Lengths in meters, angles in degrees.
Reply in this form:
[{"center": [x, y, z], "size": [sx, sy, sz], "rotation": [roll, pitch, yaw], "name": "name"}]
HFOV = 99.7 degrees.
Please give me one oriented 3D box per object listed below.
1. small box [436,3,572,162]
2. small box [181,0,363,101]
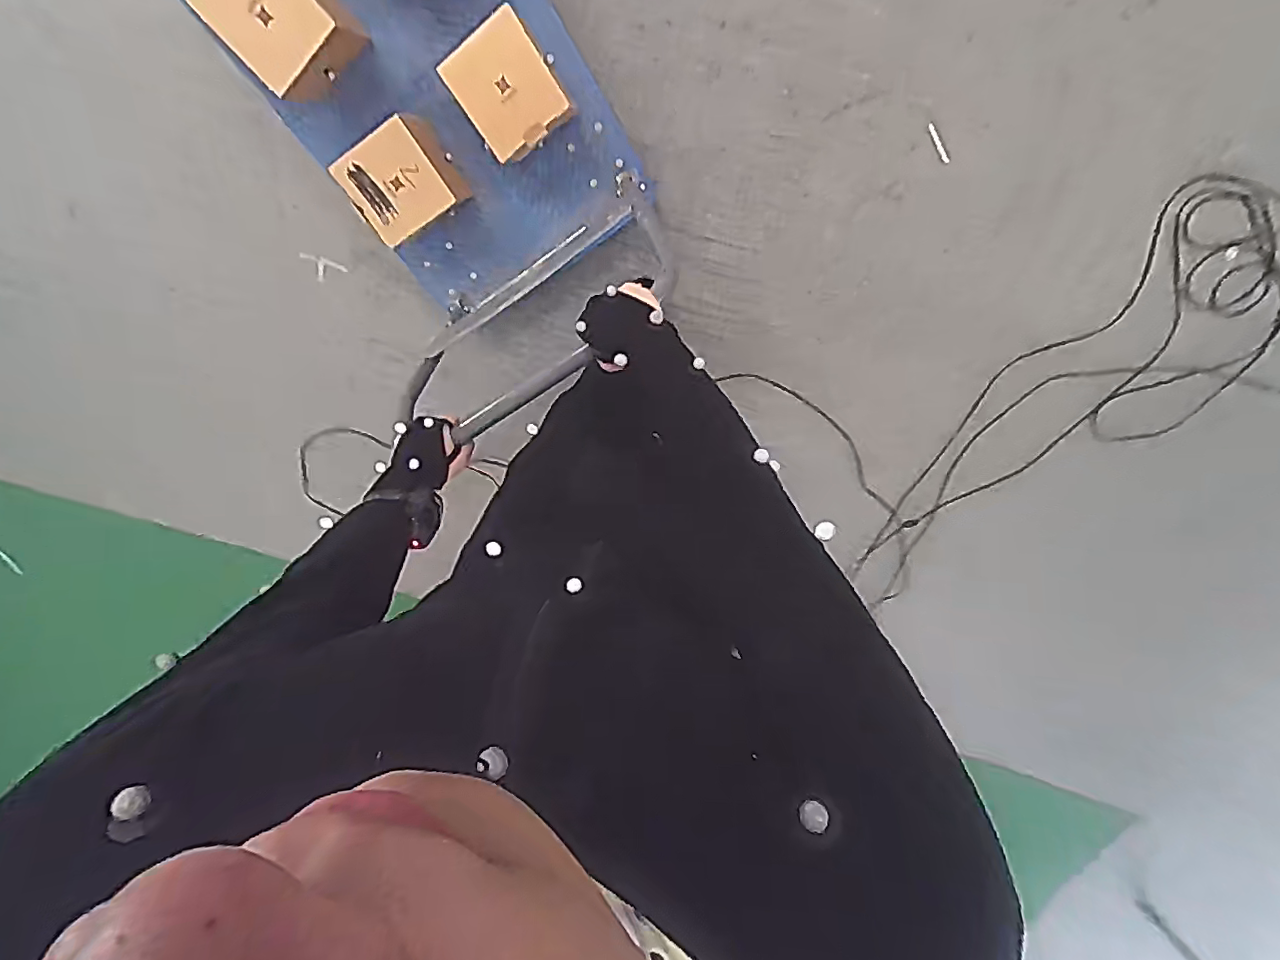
[{"center": [-0.245, -0.734, 1.020], "size": [0.168, 0.176, 0.179], "rotation": [-31, 120, 15], "name": "small box"}, {"center": [-0.629, -0.805, 0.947], "size": [0.168, 0.176, 0.179], "rotation": [-35, 118, 17], "name": "small box"}]
